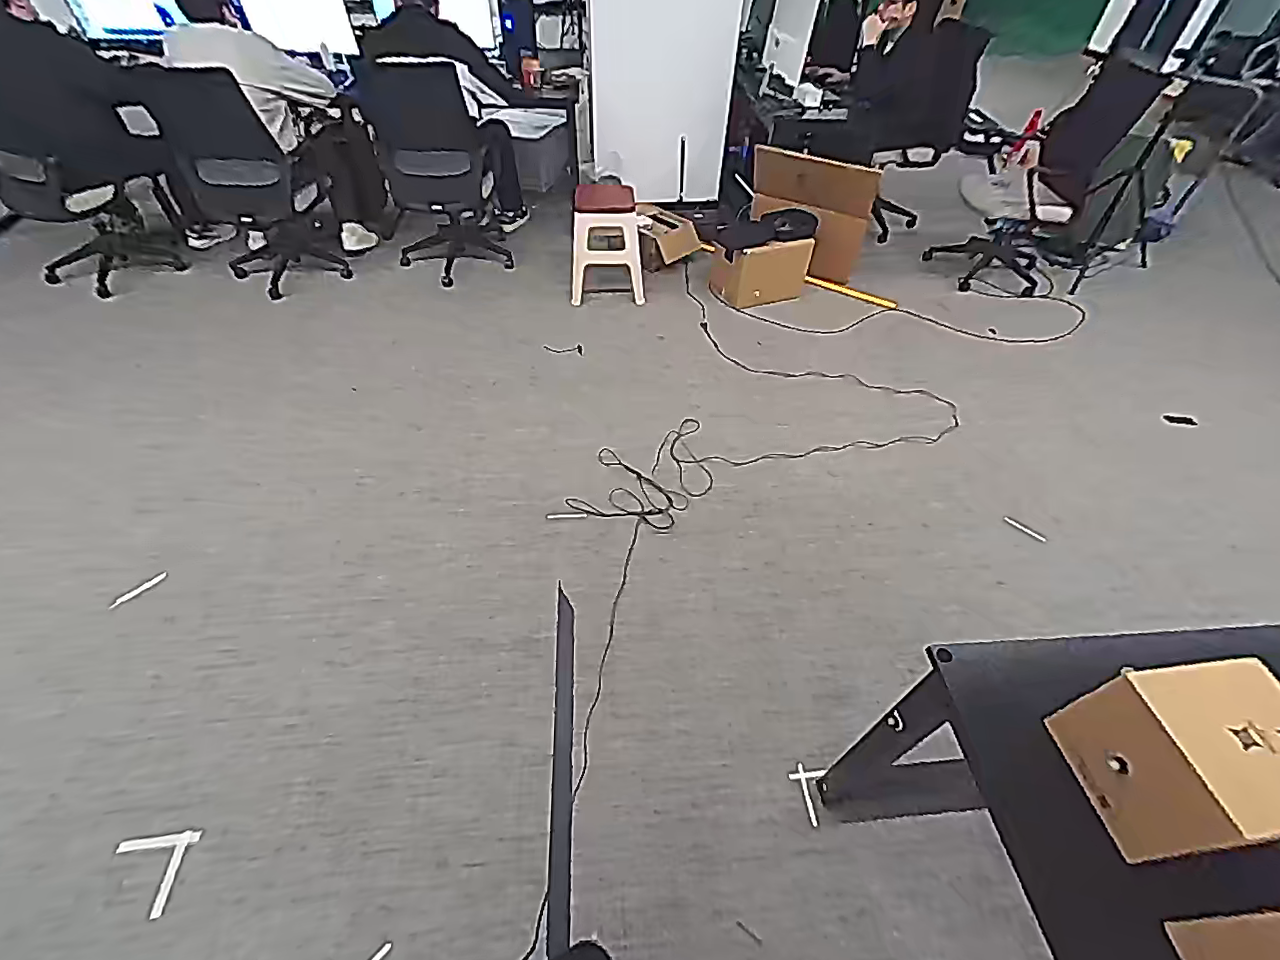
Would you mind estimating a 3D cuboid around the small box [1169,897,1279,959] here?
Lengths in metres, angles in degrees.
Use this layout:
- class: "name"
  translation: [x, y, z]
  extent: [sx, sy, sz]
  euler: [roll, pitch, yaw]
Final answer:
- class: "small box"
  translation: [0.675, 0.488, 0.499]
  extent: [0.179, 0.176, 0.168]
  euler: [-3, 48, -4]
